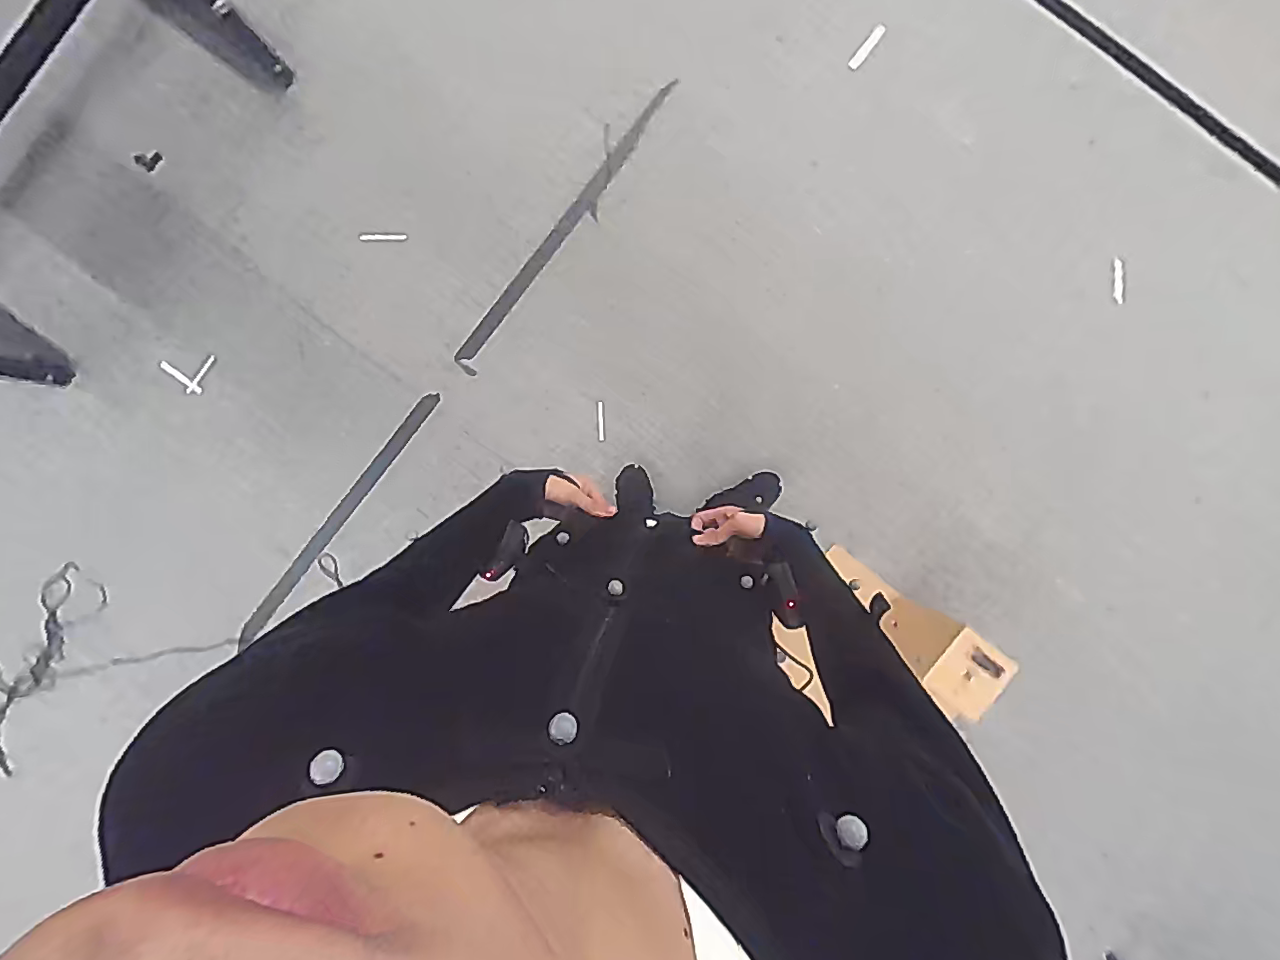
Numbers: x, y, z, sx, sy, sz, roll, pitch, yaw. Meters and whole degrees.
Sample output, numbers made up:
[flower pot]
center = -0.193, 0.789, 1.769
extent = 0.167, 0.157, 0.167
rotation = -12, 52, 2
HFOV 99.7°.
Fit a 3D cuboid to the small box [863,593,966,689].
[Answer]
[small box]
center = 0.769, 0.451, 1.544
extent = 0.168, 0.176, 0.179
rotation = 39, 90, -1
